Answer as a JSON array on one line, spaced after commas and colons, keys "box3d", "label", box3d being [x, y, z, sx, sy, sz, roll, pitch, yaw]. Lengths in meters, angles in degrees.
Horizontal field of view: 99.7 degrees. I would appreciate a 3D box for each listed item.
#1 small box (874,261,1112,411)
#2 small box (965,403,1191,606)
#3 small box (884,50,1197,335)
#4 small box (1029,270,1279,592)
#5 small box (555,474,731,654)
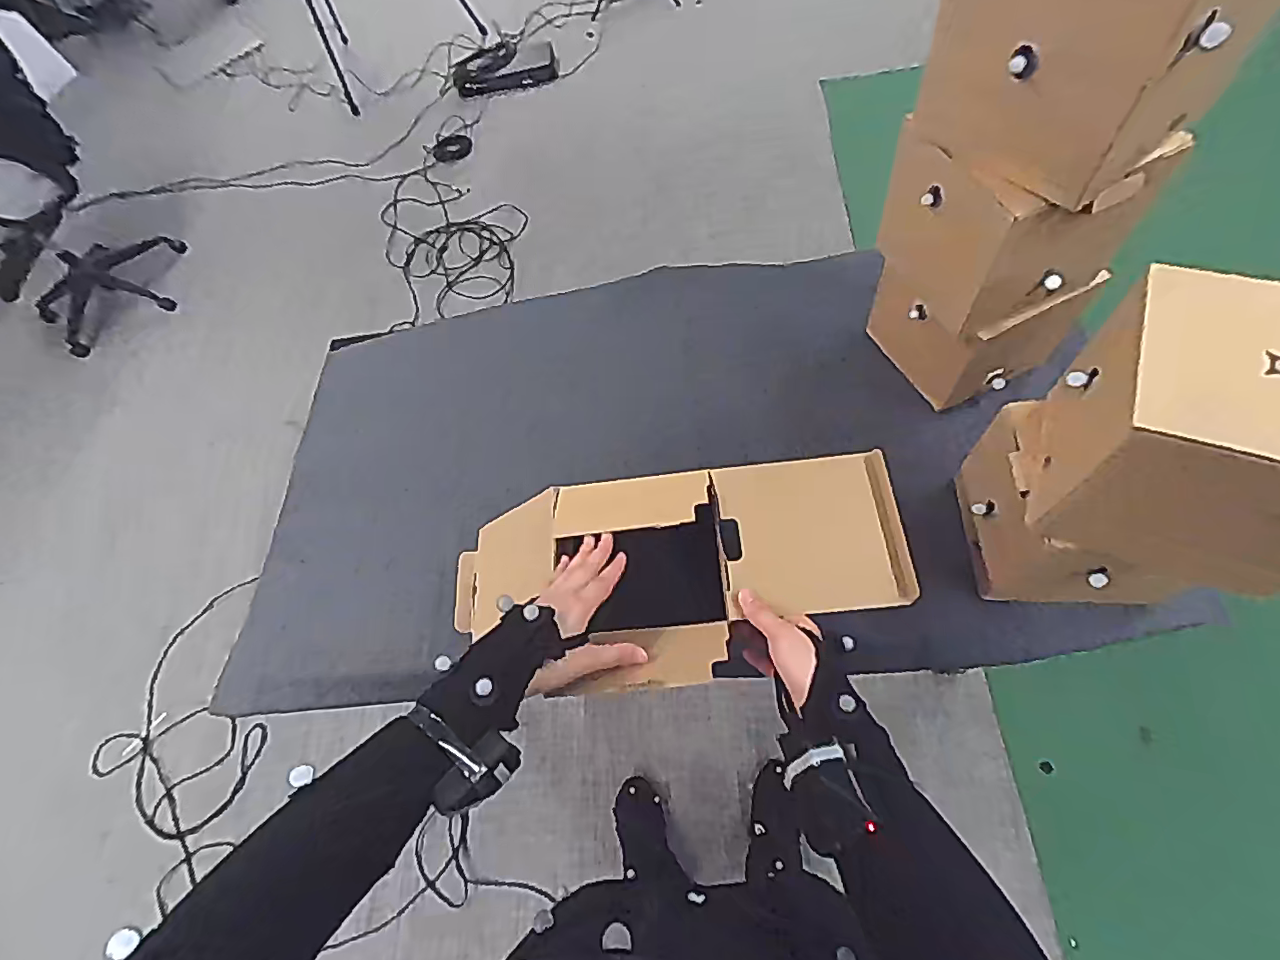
[{"box3d": [0.436, -0.225, 0.711, 0.168, 0.176, 0.179, -27, 64, 0], "label": "small box"}, {"box3d": [0.472, 0.031, 0.577, 0.179, 0.176, 0.168, -1, 61, 11], "label": "small box"}, {"box3d": [0.384, -0.289, 0.567, 0.168, 0.176, 0.179, -24, 63, 3], "label": "small box"}, {"box3d": [0.448, -0.031, 0.427, 0.179, 0.176, 0.168, 19, 67, 19], "label": "small box"}, {"box3d": [0.008, 0.106, 0.629, 0.179, 0.176, 0.168, -7, 66, 7], "label": "small box"}]
